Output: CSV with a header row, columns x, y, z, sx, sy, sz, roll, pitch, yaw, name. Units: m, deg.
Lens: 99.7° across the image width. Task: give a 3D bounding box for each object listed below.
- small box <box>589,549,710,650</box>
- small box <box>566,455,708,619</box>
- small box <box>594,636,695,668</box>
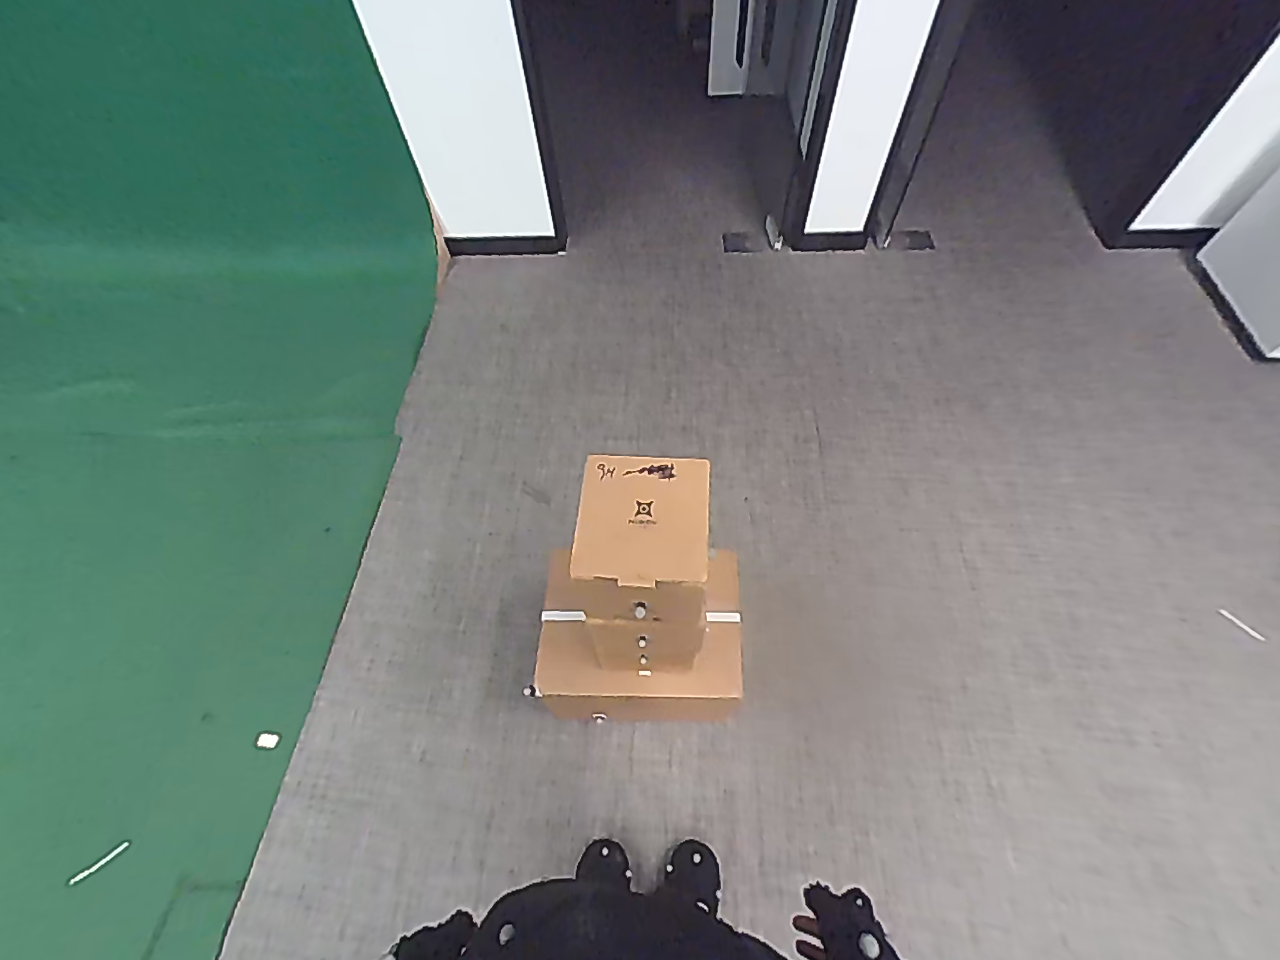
x,y,z,sx,sy,sz,roll,pitch,yaw,name
0.015,0.176,0.882,0.179,0.176,0.168,-2,60,1,small box
0.006,0.084,0.746,0.168,0.176,0.179,3,60,6,small box
0.015,0.254,1.026,0.179,0.176,0.168,2,60,3,small box
